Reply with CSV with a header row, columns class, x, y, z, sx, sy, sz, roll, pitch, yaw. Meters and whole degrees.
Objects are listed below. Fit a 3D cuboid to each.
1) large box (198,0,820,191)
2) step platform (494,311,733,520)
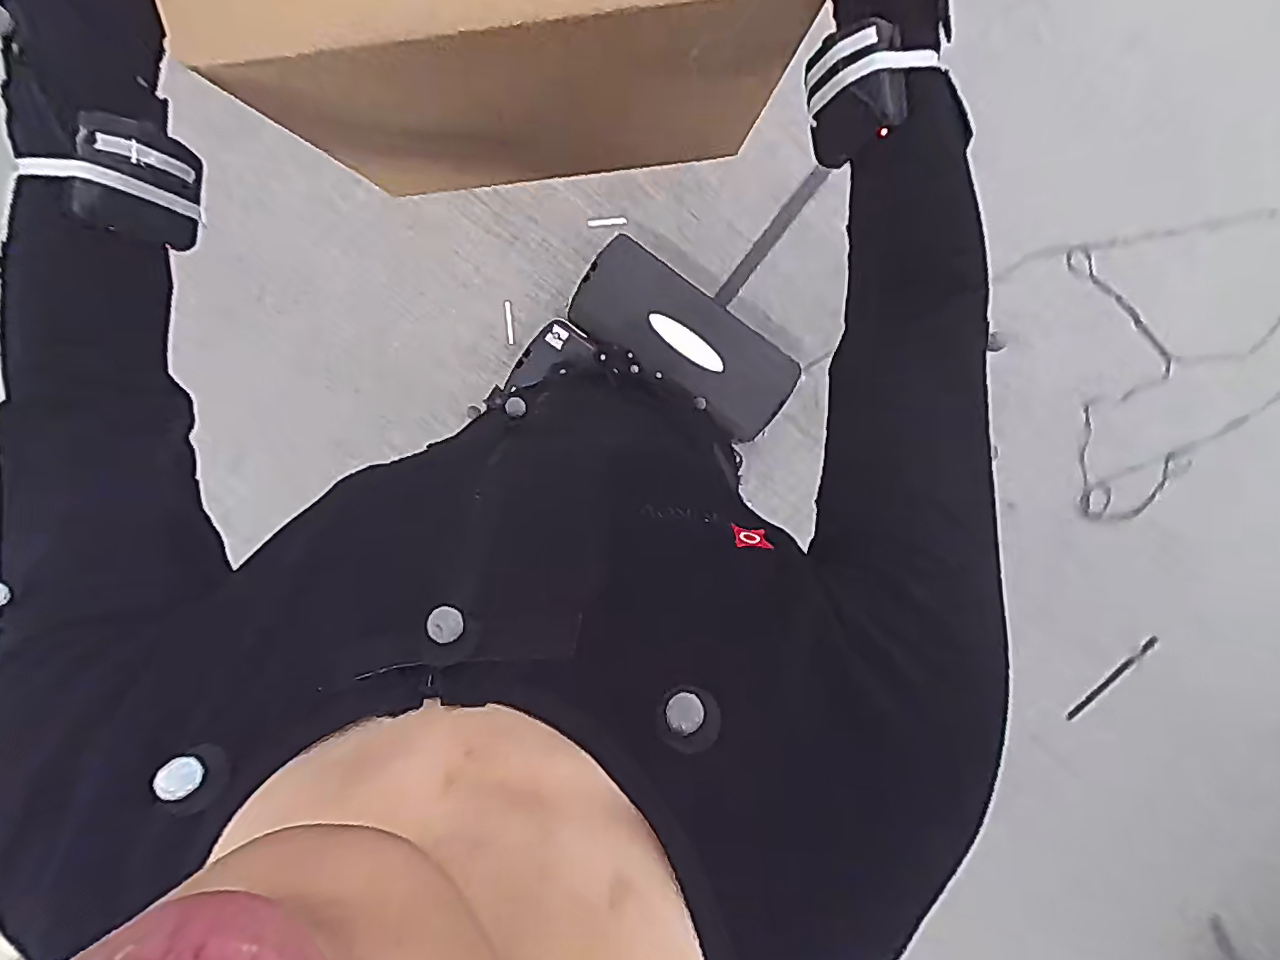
class,x,y,z,sx,sy,sz,roll,pitch,yaw
large box,-0.095,-0.469,0.447,0.408,0.320,0.320,-7,105,-1
step platform,-0.068,-0.179,1.549,0.684,0.204,0.286,35,100,-7
